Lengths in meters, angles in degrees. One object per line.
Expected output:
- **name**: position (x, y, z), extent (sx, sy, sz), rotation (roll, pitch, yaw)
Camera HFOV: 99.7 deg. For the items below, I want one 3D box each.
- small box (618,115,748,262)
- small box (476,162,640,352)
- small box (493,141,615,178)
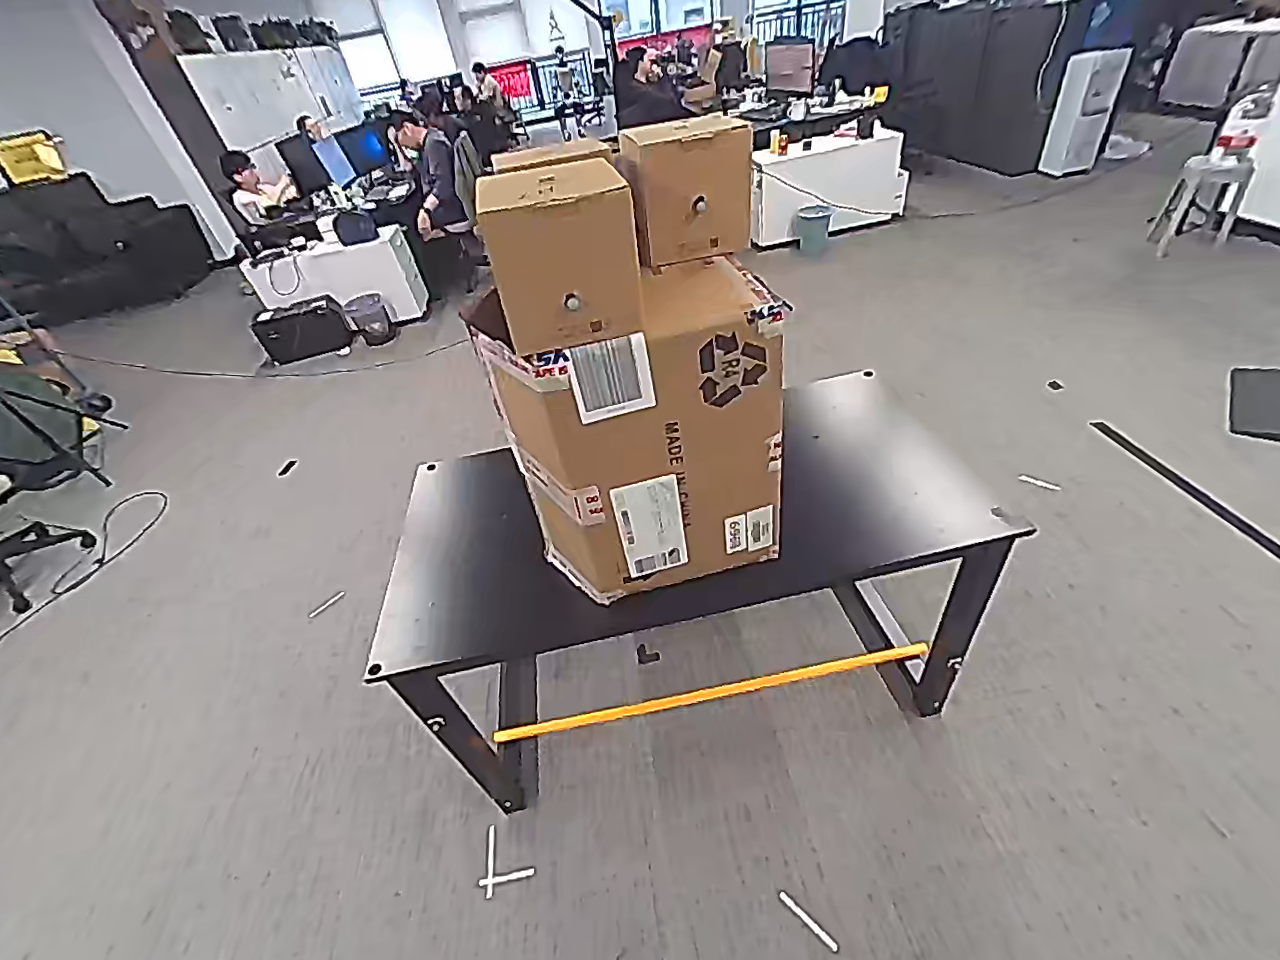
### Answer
- **small box**: position (0.068, -0.461, 0.863), extent (0.168, 0.176, 0.179), rotation (-12, 40, -5)
- **small box**: position (-0.102, -0.284, 0.688), extent (0.168, 0.176, 0.179), rotation (-13, 42, -5)
- **small box**: position (-0.128, -0.424, 0.862), extent (0.168, 0.176, 0.179), rotation (-16, 39, -7)
